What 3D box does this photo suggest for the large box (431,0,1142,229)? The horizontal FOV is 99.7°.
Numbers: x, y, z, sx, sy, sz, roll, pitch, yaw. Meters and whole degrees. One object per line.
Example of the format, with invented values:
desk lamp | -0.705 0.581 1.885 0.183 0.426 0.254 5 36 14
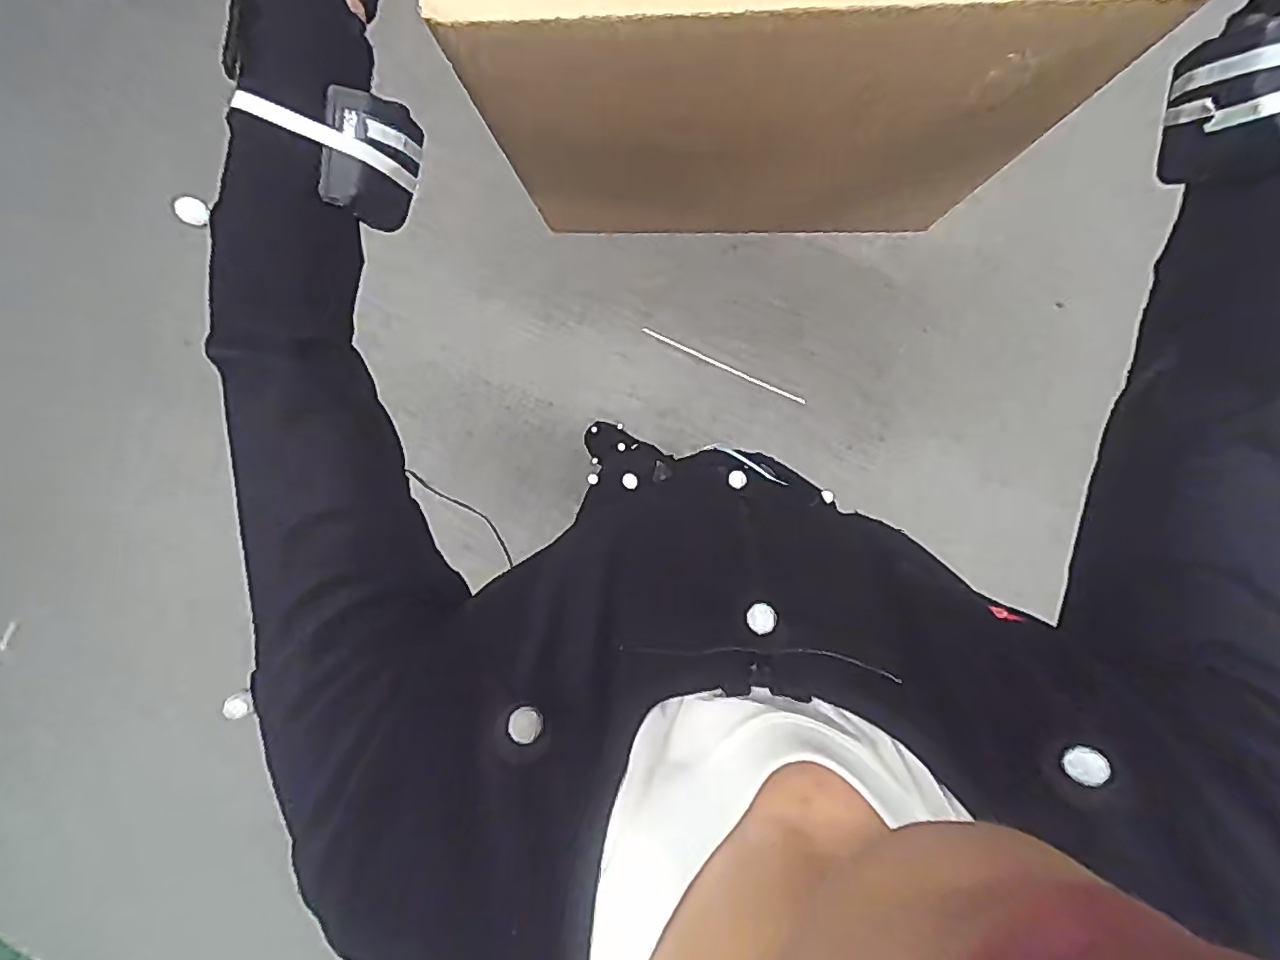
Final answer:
large box | 0.084 -0.417 0.425 0.408 0.320 0.320 0 95 2
